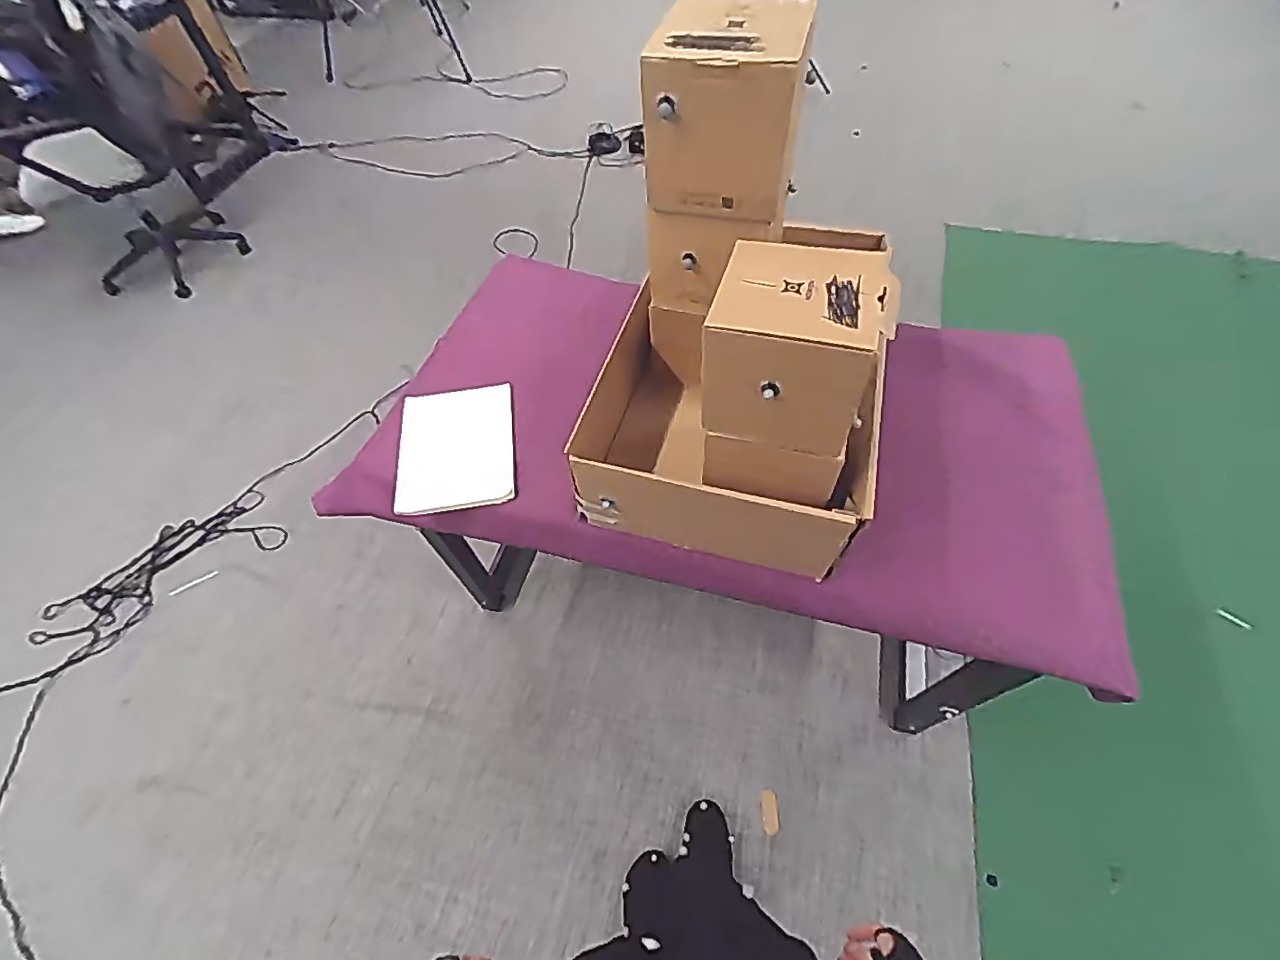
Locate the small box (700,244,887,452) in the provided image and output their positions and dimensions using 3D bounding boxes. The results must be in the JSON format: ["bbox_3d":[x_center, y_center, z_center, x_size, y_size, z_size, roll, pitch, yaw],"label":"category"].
[{"bbox_3d":[0.176,-0.154,0.650,0.179,0.176,0.168,12,56,15],"label":"small box"}]

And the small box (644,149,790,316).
[{"bbox_3d":[0.115,-0.359,0.806,0.168,0.176,0.179,13,59,13],"label":"small box"}]
